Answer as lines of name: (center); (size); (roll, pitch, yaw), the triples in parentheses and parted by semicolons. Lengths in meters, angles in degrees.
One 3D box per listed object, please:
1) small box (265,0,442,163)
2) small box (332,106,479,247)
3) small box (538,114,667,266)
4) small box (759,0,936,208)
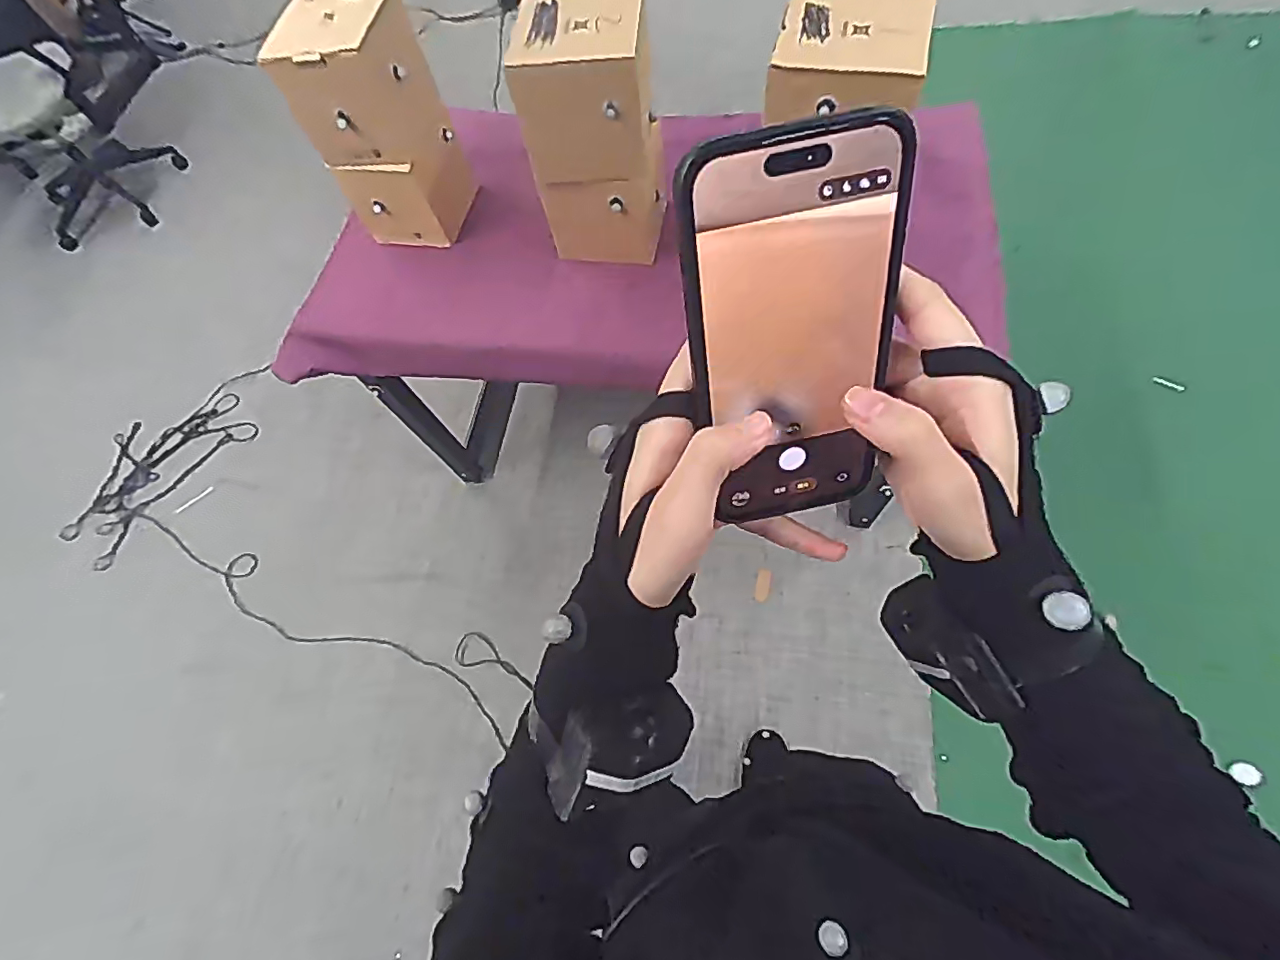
small box: (-0.447, -0.642, 0.877); (0.168, 0.176, 0.179); (4, 67, 8)
small box: (-0.428, -0.567, 1.022); (0.168, 0.176, 0.179); (8, 67, 11)
small box: (-0.053, -0.496, 0.939); (0.179, 0.176, 0.168); (8, 67, 11)
small box: (0.262, -0.490, 0.715); (0.179, 0.176, 0.168); (14, 68, 13)
